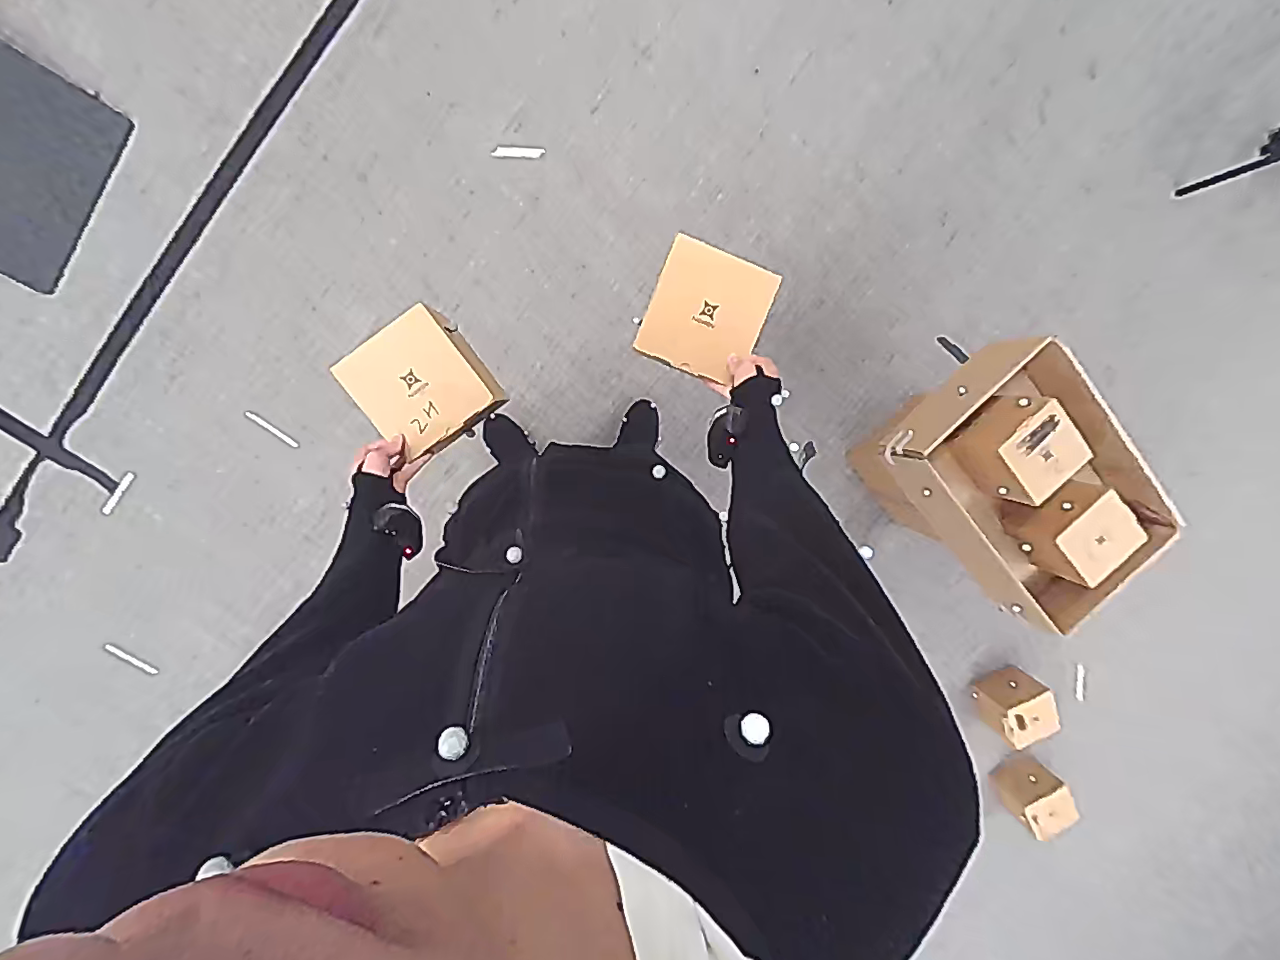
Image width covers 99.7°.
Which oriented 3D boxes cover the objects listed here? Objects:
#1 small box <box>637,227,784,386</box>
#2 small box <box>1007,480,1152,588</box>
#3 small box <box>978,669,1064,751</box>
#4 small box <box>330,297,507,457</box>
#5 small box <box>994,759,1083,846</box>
[{"bbox_3d":[0.097,-0.264,0.855,0.168,0.176,0.179,21,102,-6],"label":"small box"},{"bbox_3d":[1.031,0.118,1.280,0.179,0.176,0.168,-44,101,-1],"label":"small box"},{"bbox_3d":[1.304,0.789,1.868,0.179,0.176,0.168,-22,102,-3],"label":"small box"},{"bbox_3d":[-0.336,-0.157,0.860,0.168,0.176,0.179,-36,100,1],"label":"small box"},{"bbox_3d":[1.431,1.155,1.950,0.179,0.176,0.168,-28,102,-2],"label":"small box"}]
